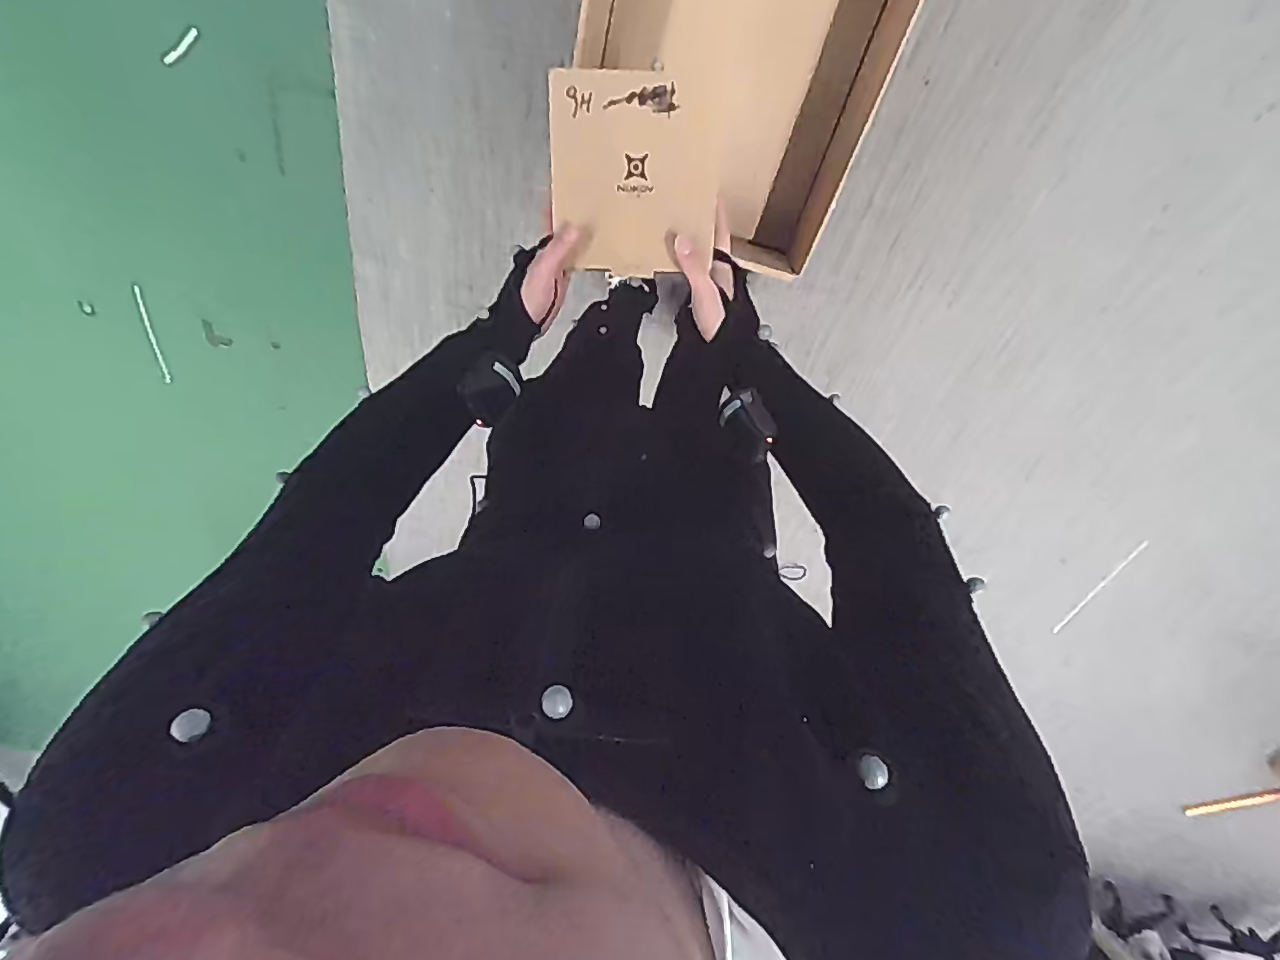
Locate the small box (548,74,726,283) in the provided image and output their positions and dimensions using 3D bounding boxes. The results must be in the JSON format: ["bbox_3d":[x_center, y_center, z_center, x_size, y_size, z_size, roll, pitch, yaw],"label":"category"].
[{"bbox_3d":[-0.002,-0.319,0.596,0.168,0.176,0.179,2,114,1],"label":"small box"}]
